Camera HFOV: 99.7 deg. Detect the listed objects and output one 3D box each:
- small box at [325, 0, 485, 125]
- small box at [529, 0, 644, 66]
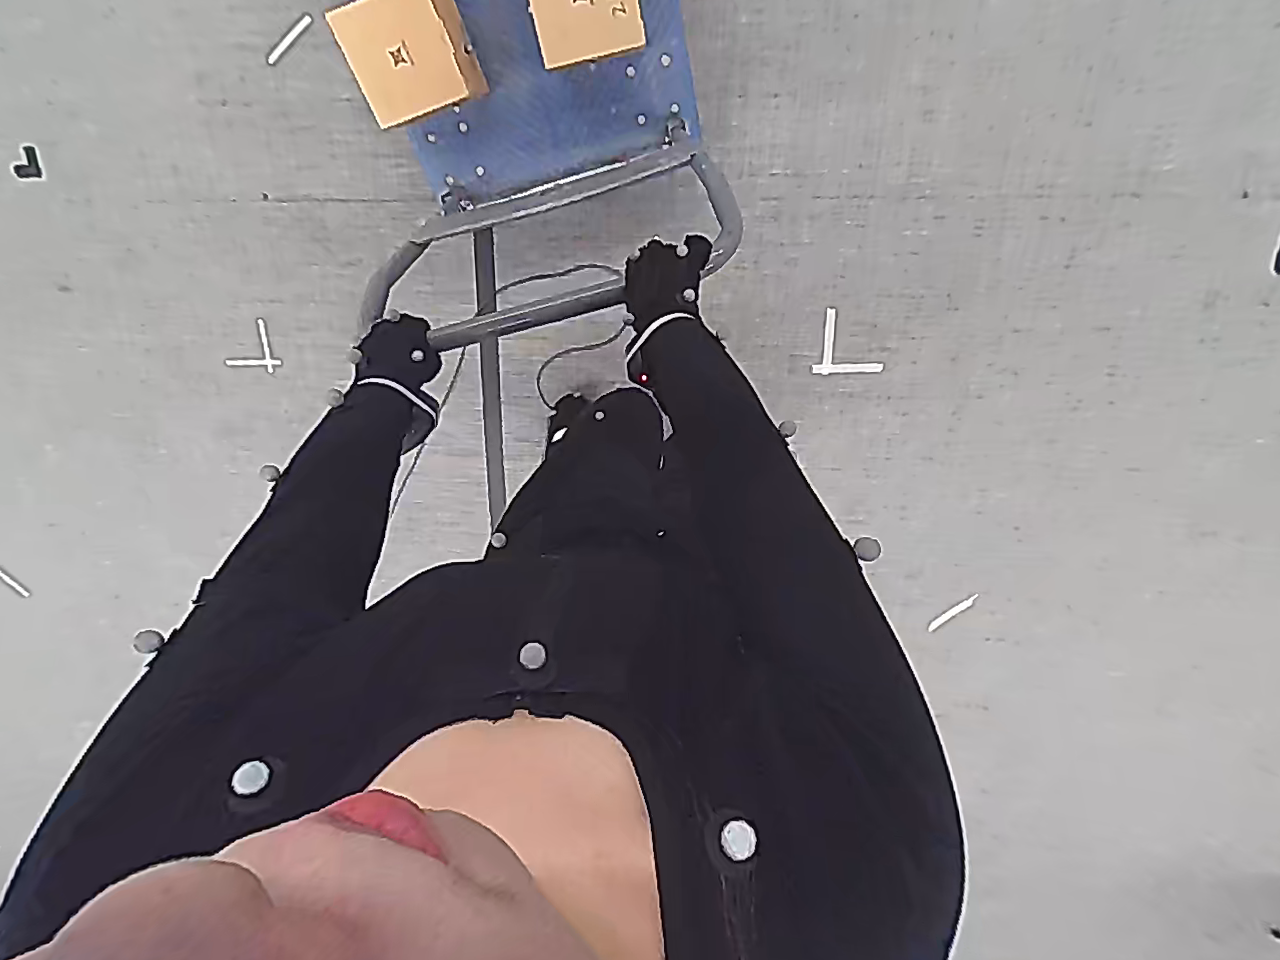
[{"bbox_3d":[-0.399,-0.748,0.953,0.179,0.176,0.168,-16,125,8],"label":"small box"},{"bbox_3d":[-0.092,-0.817,0.911,0.179,0.176,0.168,-10,126,6],"label":"small box"}]
